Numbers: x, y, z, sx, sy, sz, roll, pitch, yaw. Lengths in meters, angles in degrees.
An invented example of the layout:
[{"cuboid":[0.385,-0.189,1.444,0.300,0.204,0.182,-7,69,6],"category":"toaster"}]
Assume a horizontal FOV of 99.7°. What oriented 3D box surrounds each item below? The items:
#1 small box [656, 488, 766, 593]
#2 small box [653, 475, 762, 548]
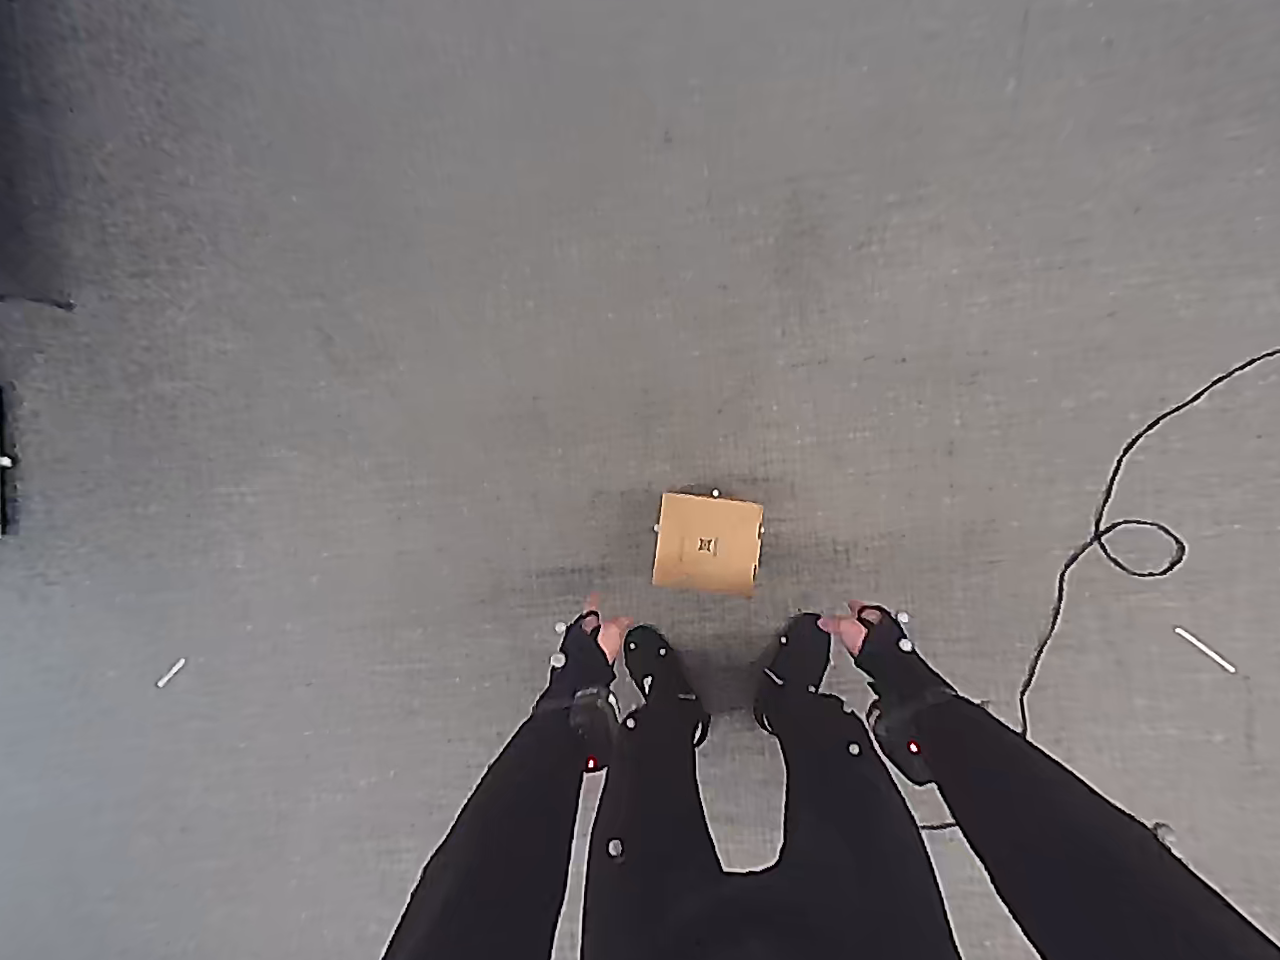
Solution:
[{"cuboid":[0.134,0.106,1.022,0.179,0.176,0.168,7,89,9],"category":"small box"},{"cuboid":[0.151,0.102,1.176,0.179,0.176,0.168,-28,84,8],"category":"small box"}]
